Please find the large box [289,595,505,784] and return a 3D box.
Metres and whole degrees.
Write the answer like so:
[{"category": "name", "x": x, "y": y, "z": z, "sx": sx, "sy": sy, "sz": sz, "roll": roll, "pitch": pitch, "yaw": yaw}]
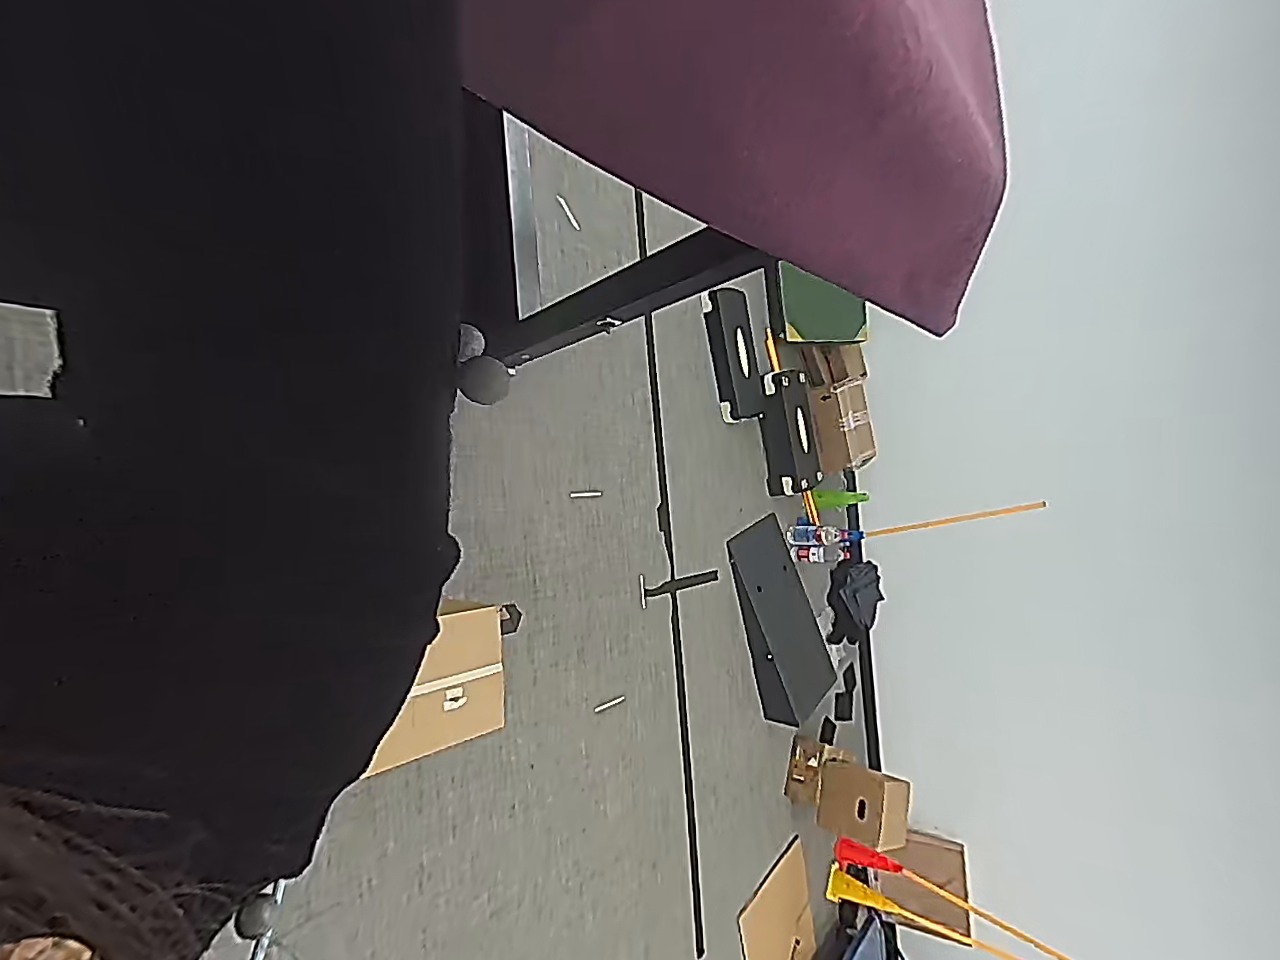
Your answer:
[{"category": "large box", "x": -0.600, "y": 0.478, "z": 1.346, "sx": 0.408, "sy": 0.320, "sz": 0.320, "roll": 0, "pitch": 86, "yaw": -47}]
